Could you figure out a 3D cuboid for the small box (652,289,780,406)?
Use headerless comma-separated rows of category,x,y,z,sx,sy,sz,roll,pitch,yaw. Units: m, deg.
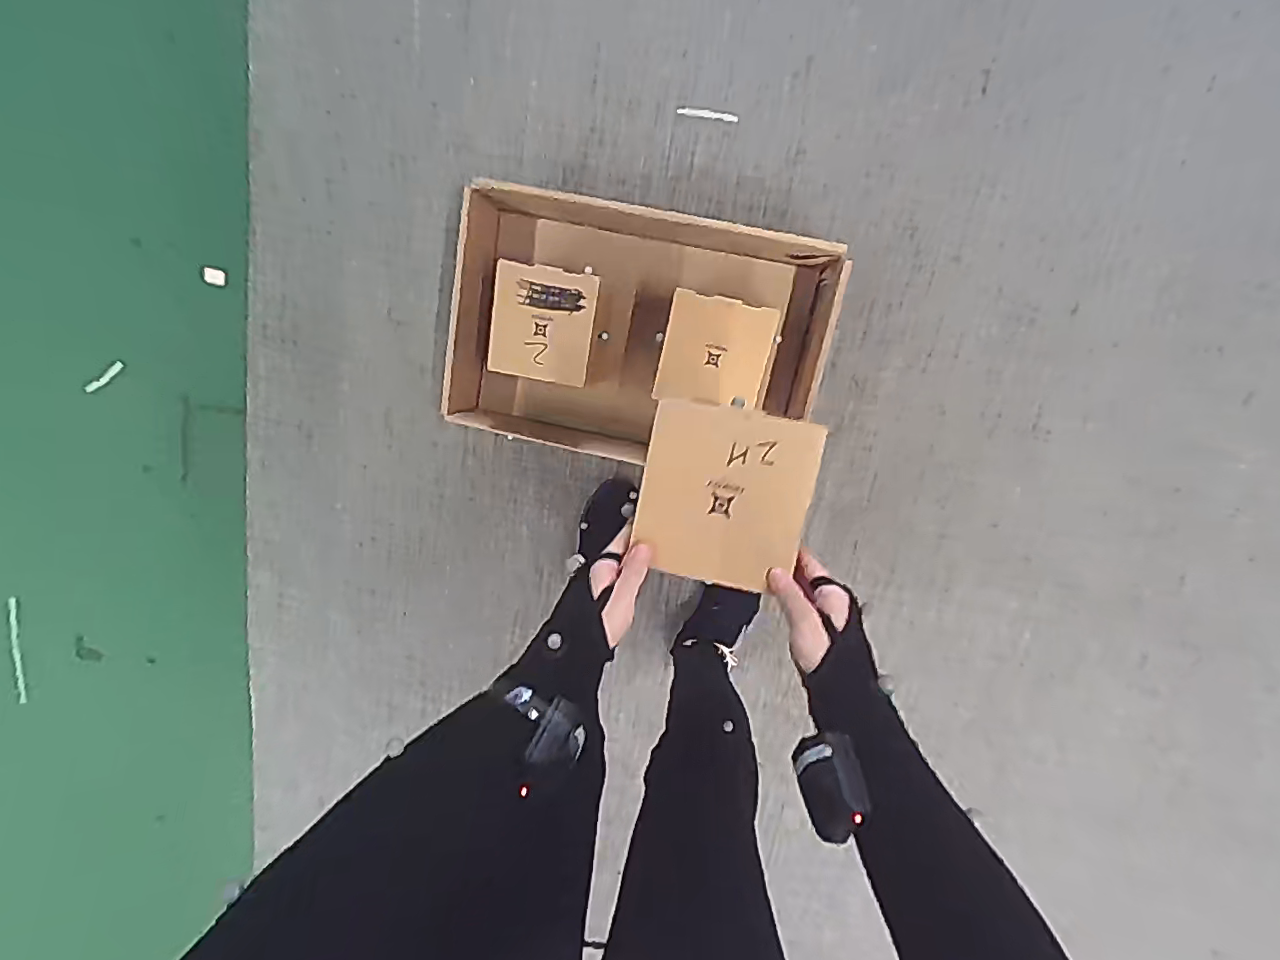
small box,0.127,-0.209,0.920,0.168,0.176,0.179,14,104,4

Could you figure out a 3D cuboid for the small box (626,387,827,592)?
small box,0.091,0.002,0.610,0.168,0.176,0.179,13,97,4
